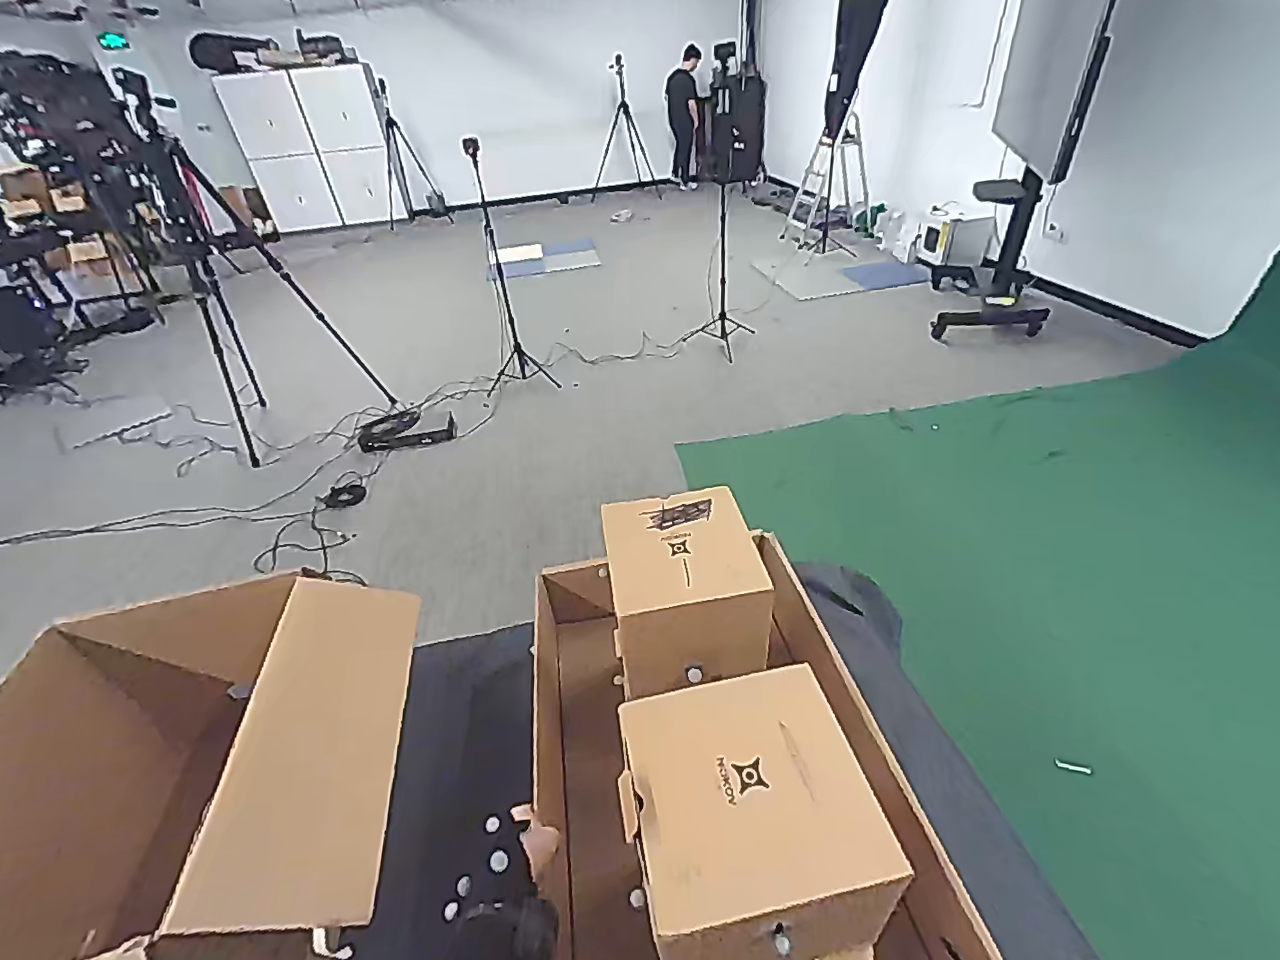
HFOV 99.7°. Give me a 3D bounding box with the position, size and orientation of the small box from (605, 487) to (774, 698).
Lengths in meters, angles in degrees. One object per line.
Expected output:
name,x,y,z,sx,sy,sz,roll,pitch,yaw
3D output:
small box,0.052,0.135,0.663,0.168,0.176,0.179,-9,39,-3

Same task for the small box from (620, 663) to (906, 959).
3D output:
small box,0.088,0.290,0.460,0.179,0.176,0.168,-10,38,-6
